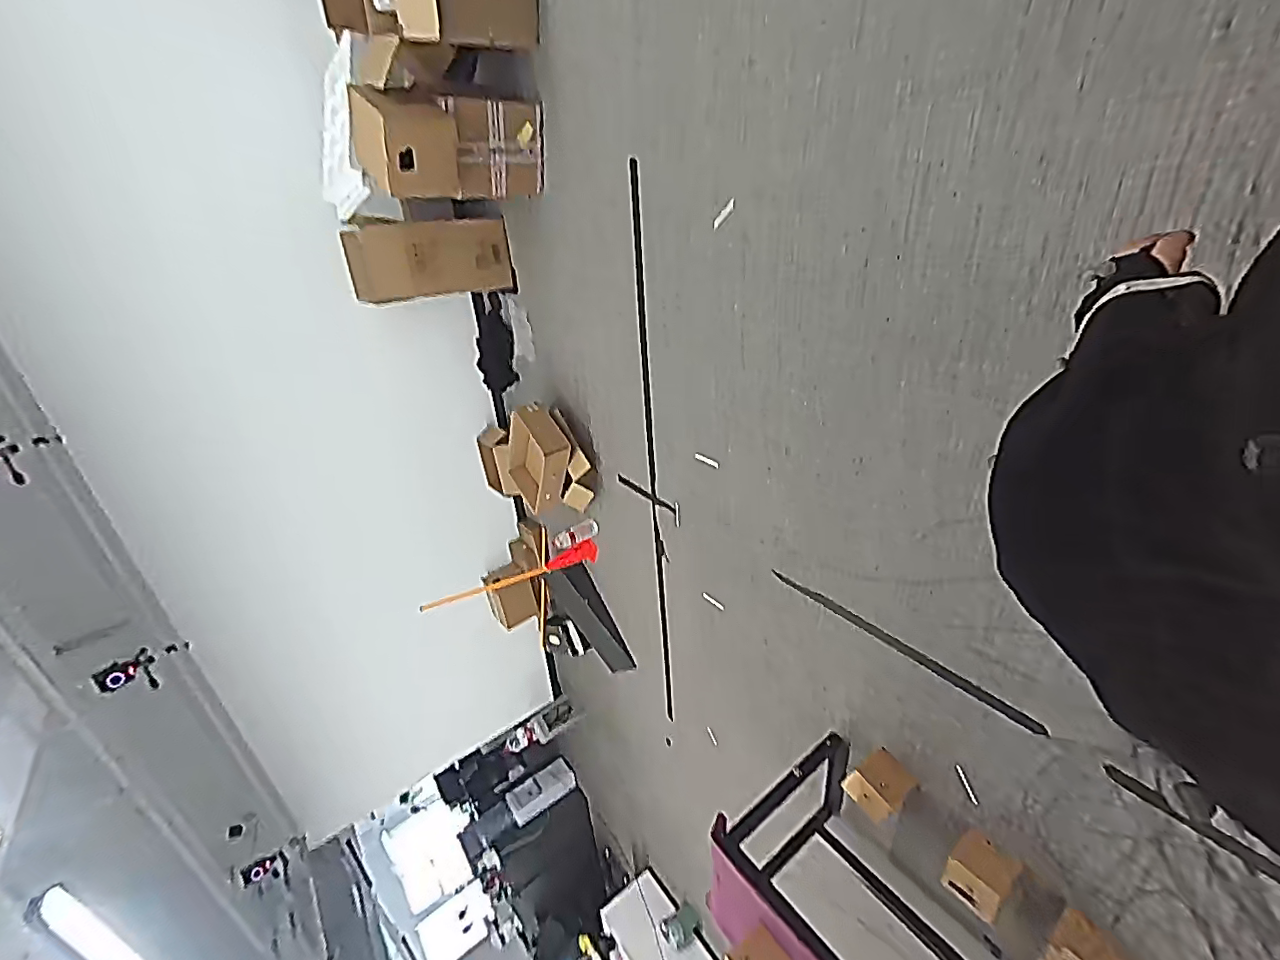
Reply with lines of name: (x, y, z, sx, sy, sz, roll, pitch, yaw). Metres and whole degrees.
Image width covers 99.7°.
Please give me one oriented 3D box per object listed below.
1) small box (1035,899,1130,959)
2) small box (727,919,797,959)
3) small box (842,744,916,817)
small box: (1.371, 1.460, 1.673, 0.168, 0.176, 0.179, 30, 135, 45)
small box: (0.418, 1.669, 1.861, 0.179, 0.176, 0.168, 31, 135, 44)
small box: (0.950, 1.185, 2.148, 0.179, 0.176, 0.168, 43, 141, 33)
